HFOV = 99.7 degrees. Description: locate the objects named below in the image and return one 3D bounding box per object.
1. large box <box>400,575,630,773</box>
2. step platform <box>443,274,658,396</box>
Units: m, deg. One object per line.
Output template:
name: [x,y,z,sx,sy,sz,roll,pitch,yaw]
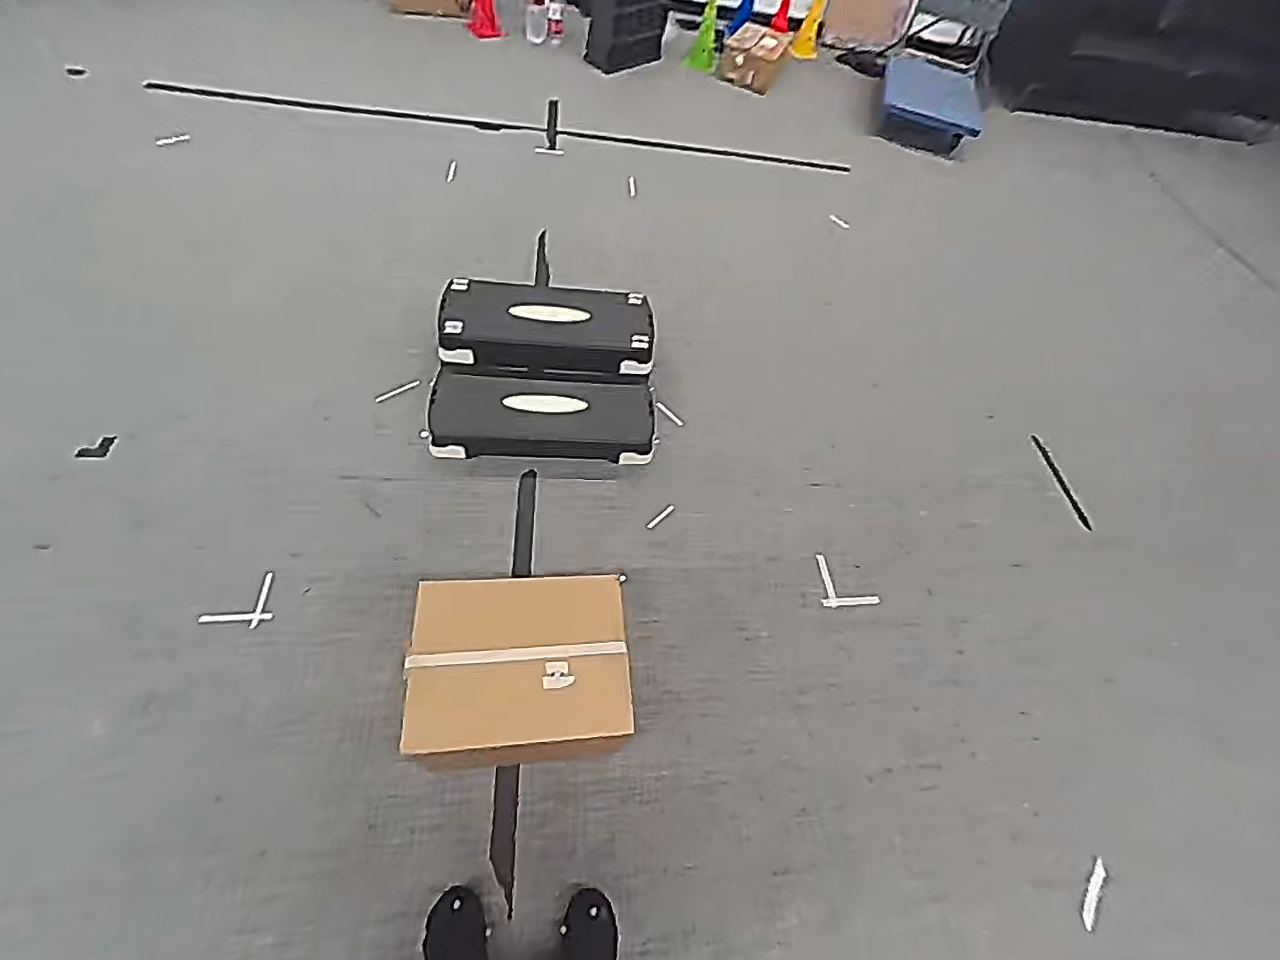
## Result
large box: [-0.255,0.413,1.146,0.408,0.320,0.320,0,58,-11]
step platform: [-0.283,-0.474,1.775,0.684,0.204,0.286,6,57,-7]
